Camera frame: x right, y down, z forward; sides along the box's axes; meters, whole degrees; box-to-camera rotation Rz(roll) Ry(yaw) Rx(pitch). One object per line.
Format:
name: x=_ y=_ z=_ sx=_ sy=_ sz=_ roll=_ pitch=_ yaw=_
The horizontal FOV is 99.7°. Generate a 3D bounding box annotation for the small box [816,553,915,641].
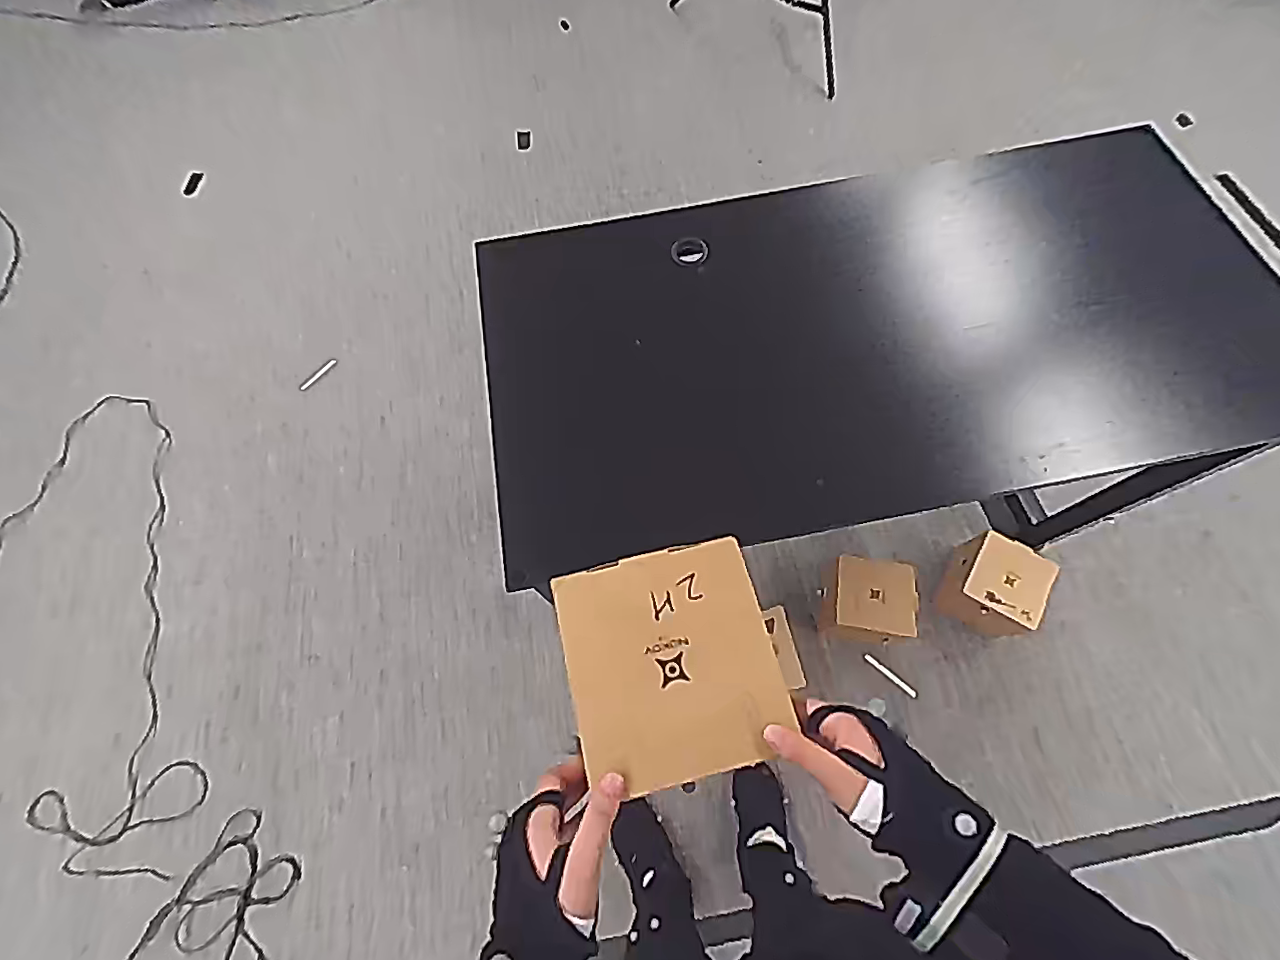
small box: x=0.536 y=0.286 z=1.298 sx=0.179 sy=0.176 sz=0.168 roll=8 pitch=68 yaw=7

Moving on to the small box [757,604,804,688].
small box: x=0.260 y=0.403 z=1.262 sx=0.168 sy=0.176 sz=0.179 roll=-12 pitch=69 yaw=-2

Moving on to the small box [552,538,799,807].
small box: x=0.024 y=0.176 z=0.505 sx=0.168 sy=0.176 sz=0.179 roll=-13 pitch=66 yaw=-6

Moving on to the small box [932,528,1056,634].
small box: x=0.836 y=0.247 z=1.295 sx=0.168 sy=0.176 sz=0.179 roll=30 pitch=72 yaw=14
